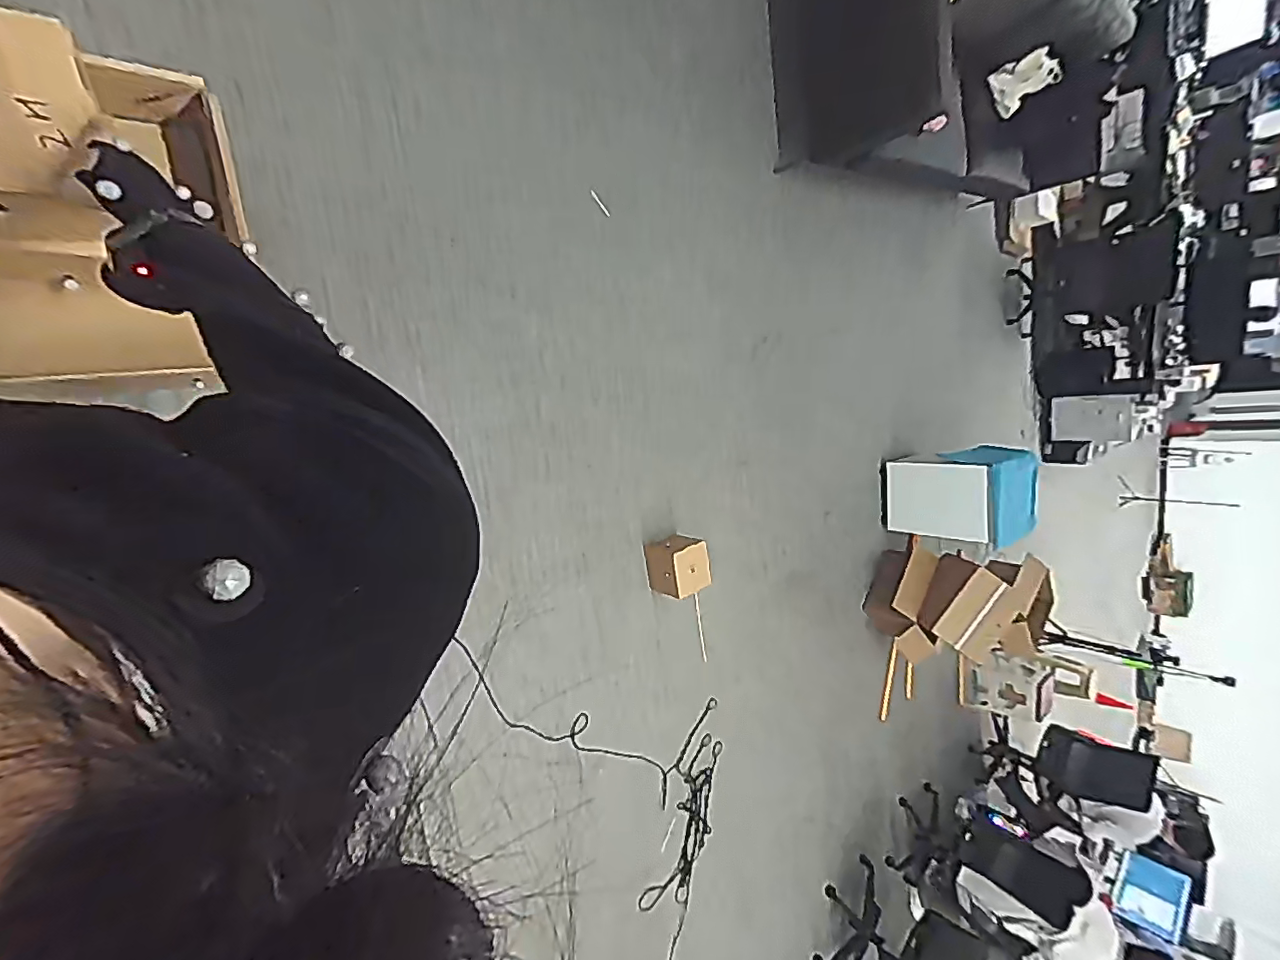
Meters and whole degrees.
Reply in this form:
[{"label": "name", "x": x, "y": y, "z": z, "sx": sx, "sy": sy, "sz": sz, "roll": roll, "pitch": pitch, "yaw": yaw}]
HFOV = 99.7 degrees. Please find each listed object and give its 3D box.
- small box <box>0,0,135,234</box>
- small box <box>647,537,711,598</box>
[{"label": "small box", "x": -0.664, "y": -0.363, "z": 0.554, "sx": 0.179, "sy": 0.176, "sz": 0.168, "roll": -16, "pitch": 104, "yaw": -36}, {"label": "small box", "x": 0.141, "y": 0.317, "z": 2.012, "sx": 0.168, "sy": 0.176, "sz": 0.179, "roll": -16, "pitch": 104, "yaw": -37}]
